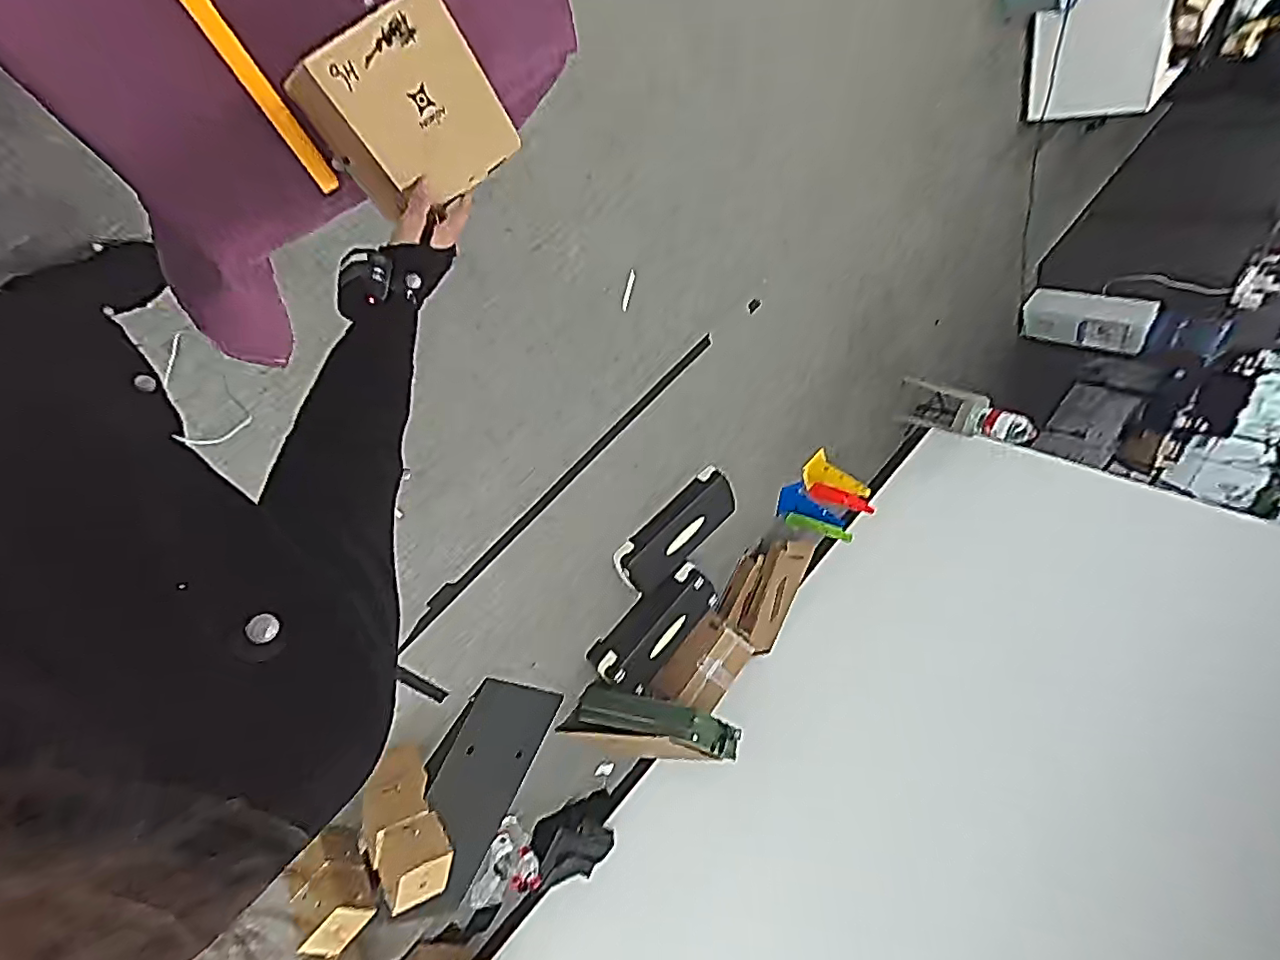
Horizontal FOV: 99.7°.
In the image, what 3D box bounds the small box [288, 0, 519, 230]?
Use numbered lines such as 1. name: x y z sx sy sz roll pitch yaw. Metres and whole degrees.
1. small box: -0.288 -0.437 0.662 0.168 0.176 0.179 -46 133 -12
